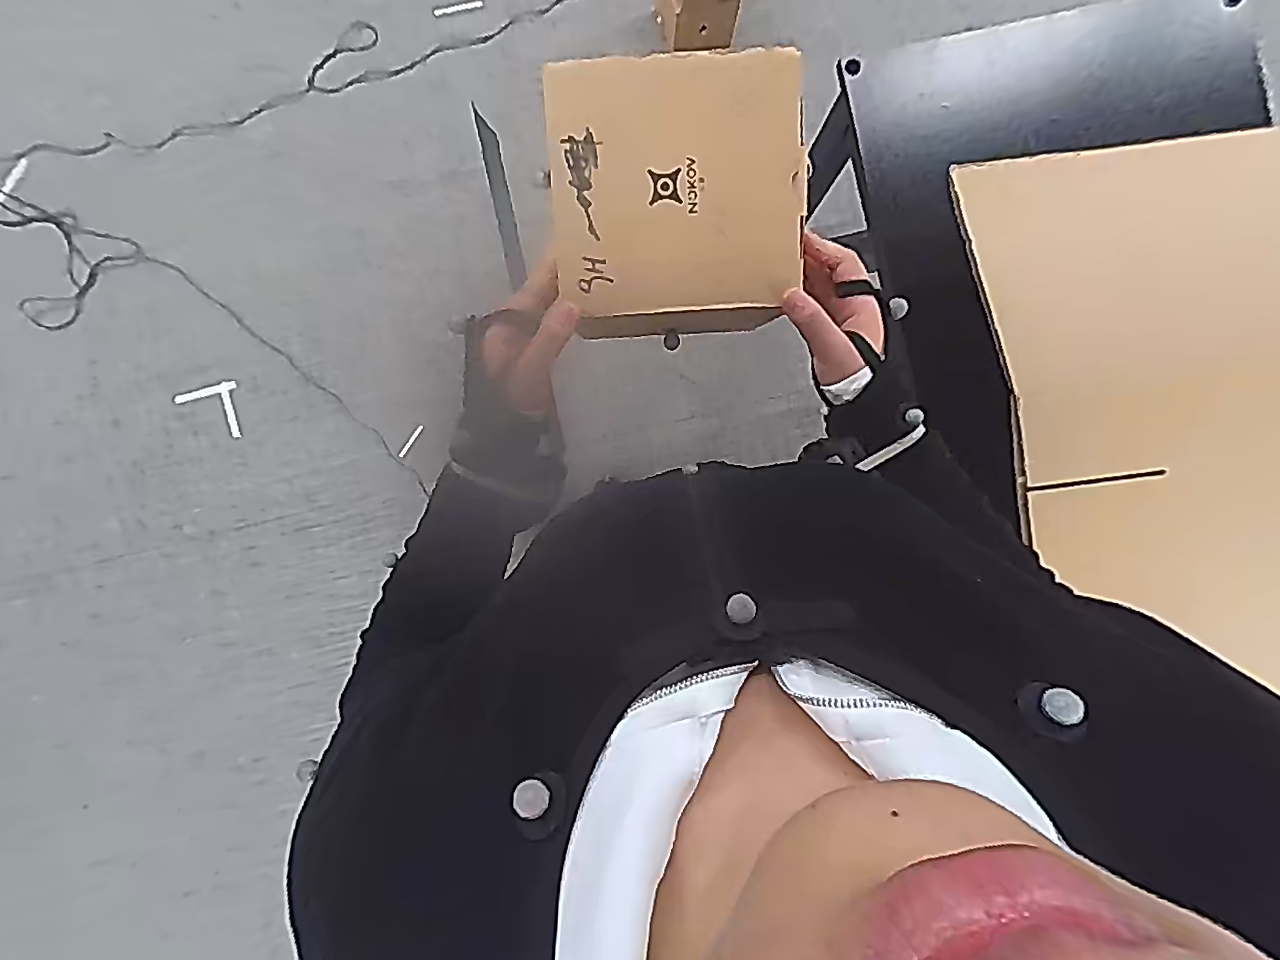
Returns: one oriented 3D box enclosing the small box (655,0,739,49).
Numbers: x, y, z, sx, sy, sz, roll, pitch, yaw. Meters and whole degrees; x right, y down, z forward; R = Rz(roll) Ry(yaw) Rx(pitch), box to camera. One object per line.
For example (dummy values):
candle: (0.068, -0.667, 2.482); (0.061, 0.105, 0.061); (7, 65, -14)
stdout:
small box: (0.145, -1.272, 1.436); (0.179, 0.176, 0.168); (-17, 90, 0)

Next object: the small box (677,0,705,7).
small box: (0.154, -1.275, 1.273); (0.179, 0.176, 0.168); (-19, 91, -2)

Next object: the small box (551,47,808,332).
small box: (0.027, -0.220, 0.453); (0.179, 0.176, 0.168); (-4, 98, -1)
